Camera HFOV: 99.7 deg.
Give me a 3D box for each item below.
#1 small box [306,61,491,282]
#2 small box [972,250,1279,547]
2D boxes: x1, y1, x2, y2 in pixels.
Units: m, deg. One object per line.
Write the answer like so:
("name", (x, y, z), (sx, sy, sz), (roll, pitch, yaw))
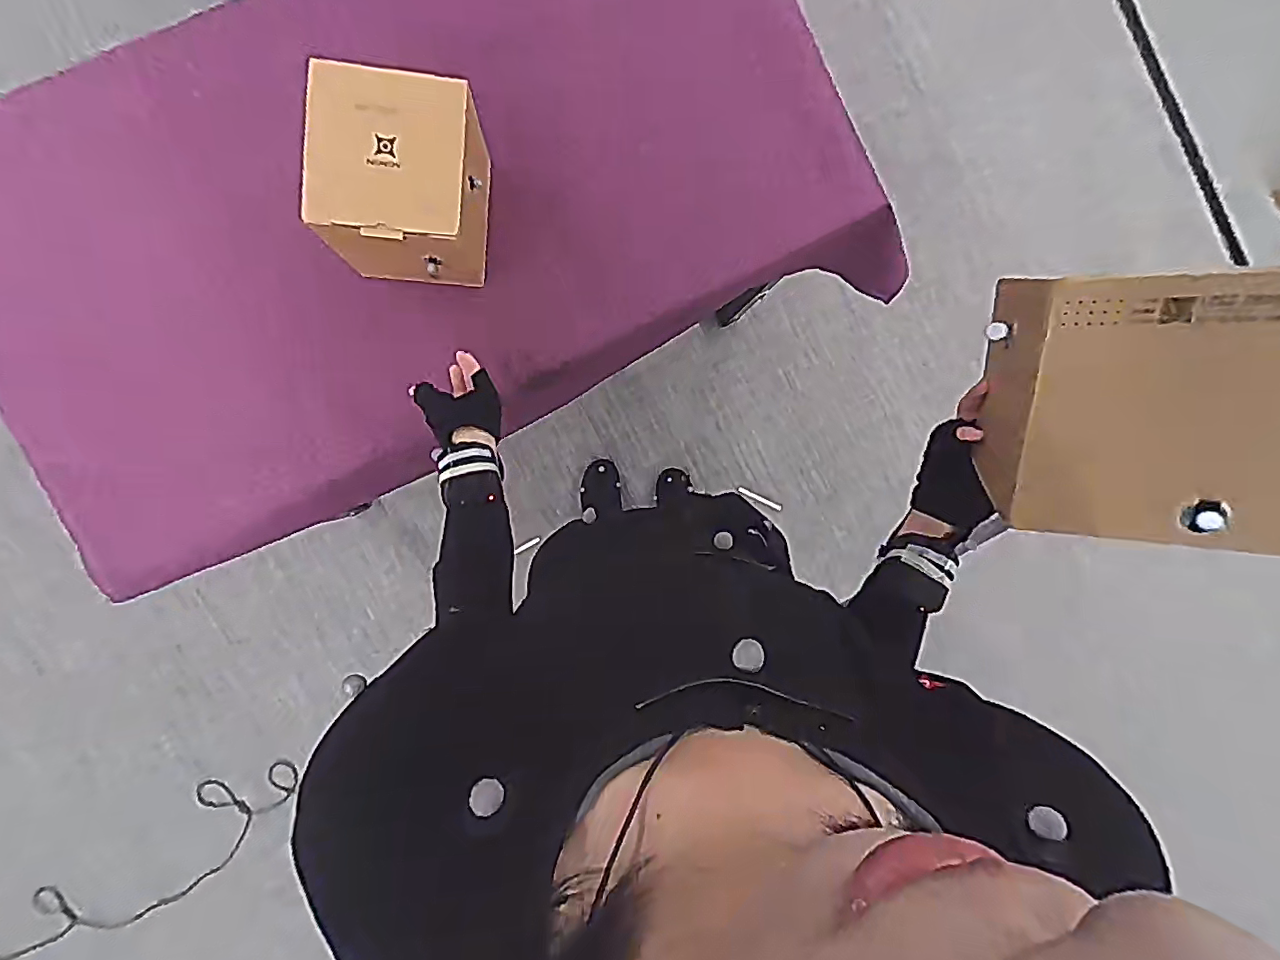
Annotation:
("small box", (-0.282, -0.360, 0.667), (0.168, 0.176, 0.179), (3, 90, -7))
("small box", (0.356, -0.071, 0.387), (0.168, 0.179, 0.176), (5, 111, 23))
